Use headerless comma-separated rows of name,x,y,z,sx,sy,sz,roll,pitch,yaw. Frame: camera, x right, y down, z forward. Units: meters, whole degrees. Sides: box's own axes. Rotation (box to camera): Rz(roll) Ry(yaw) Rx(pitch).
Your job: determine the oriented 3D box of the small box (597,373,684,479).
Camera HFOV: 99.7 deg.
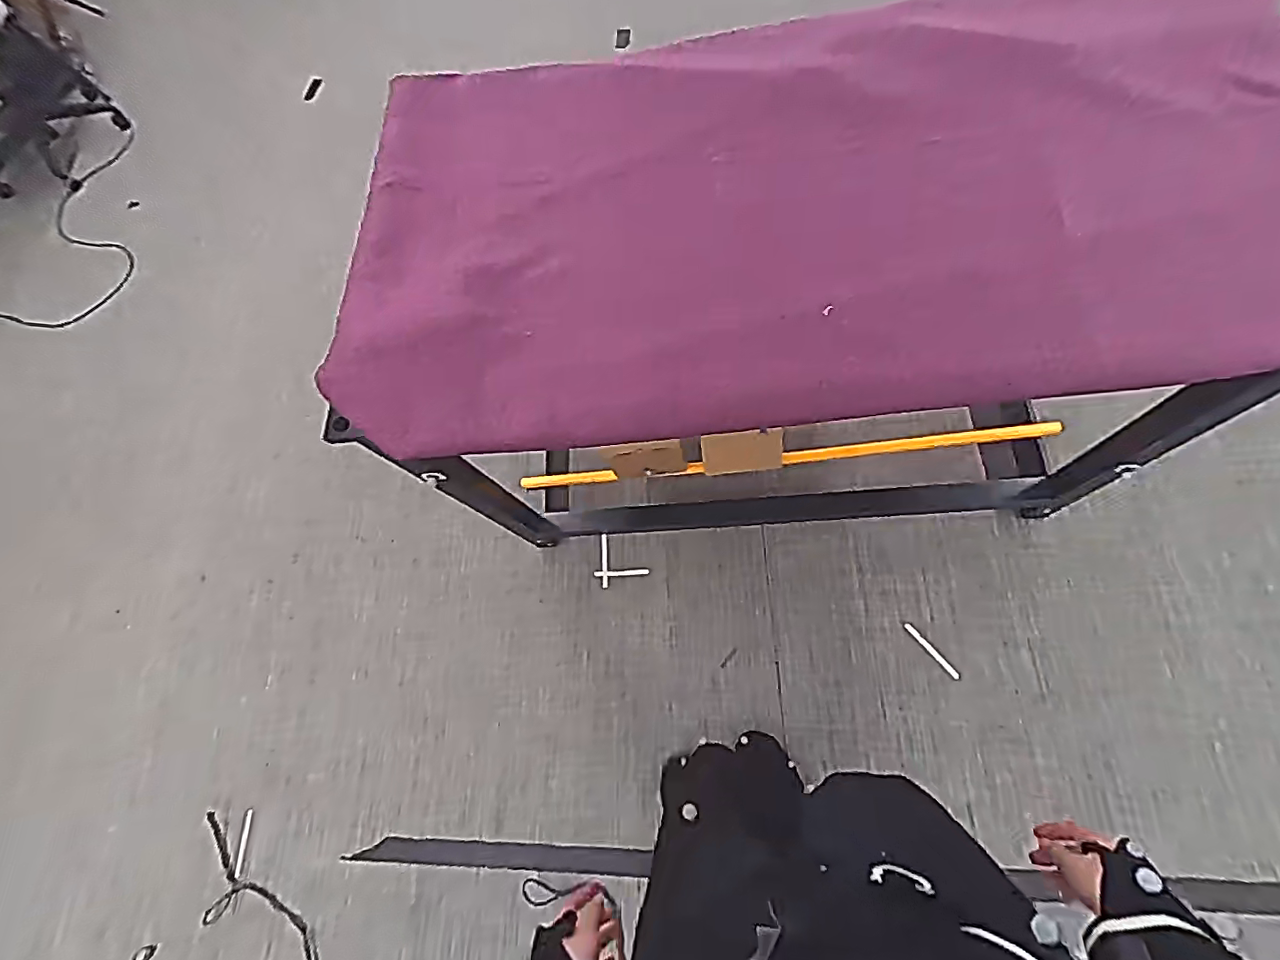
small box,0.004,-0.116,1.221,0.168,0.176,0.179,-8,71,9
